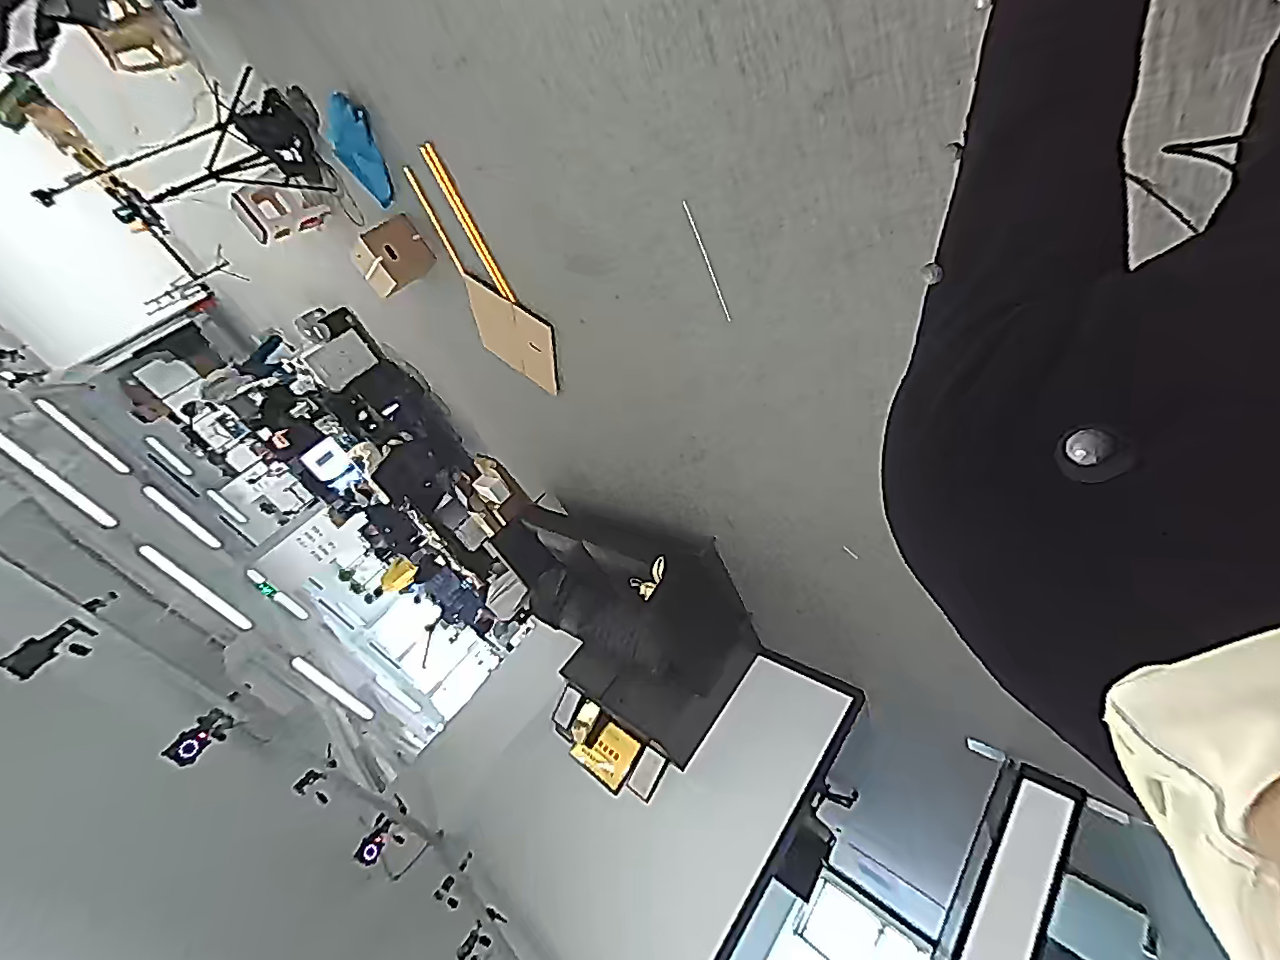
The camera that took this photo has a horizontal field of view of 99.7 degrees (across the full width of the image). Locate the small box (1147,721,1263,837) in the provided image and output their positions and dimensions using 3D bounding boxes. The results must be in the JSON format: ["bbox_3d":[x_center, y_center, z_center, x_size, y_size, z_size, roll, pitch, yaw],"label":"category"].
[{"bbox_3d":[1.436,0.753,1.376,0.168,0.176,0.179,19,146,42],"label":"small box"}]
